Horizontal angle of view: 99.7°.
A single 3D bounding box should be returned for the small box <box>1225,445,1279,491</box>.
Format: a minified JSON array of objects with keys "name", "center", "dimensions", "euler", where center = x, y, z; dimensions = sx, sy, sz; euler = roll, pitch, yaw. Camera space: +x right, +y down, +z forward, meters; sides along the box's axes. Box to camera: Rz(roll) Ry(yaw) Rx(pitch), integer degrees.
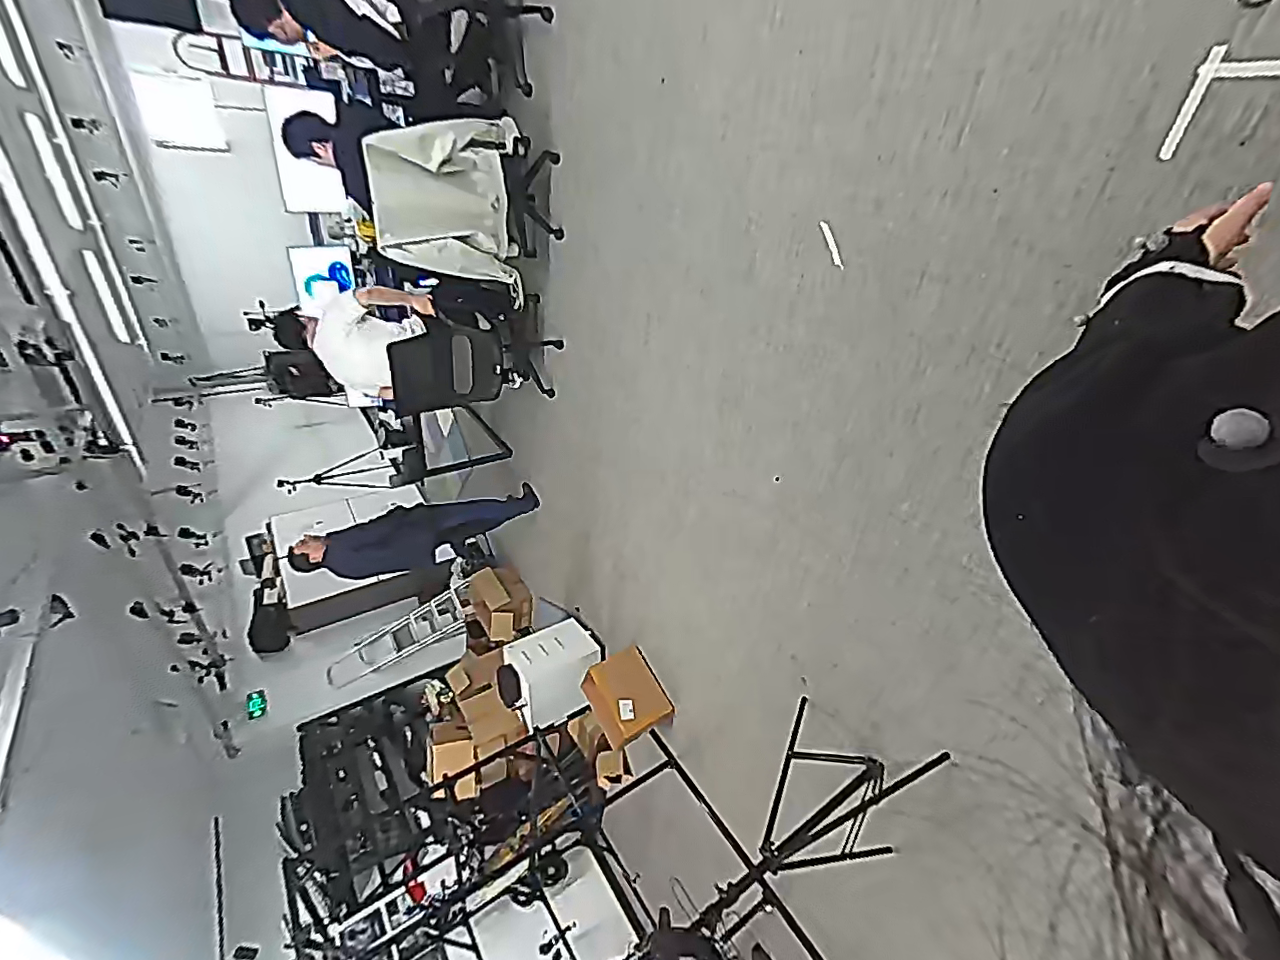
[{"name":"small box","center":[0.782,0.077,0.670],"dimensions":[0.168,0.176,0.179],"euler":[46,138,37]}]
